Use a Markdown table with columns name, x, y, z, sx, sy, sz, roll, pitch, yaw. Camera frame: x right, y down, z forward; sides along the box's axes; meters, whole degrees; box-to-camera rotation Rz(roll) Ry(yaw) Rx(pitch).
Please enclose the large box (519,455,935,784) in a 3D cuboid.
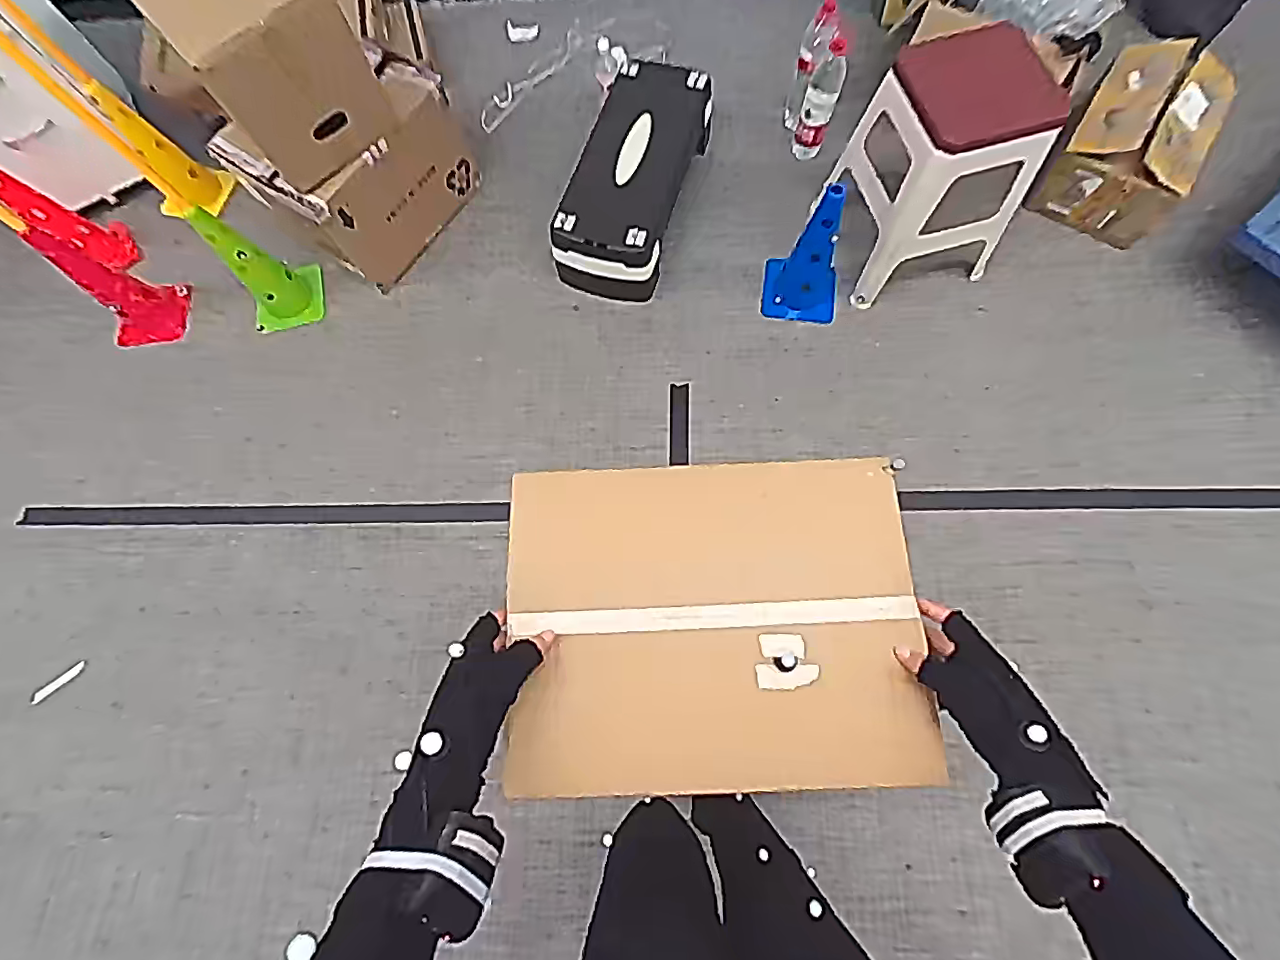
| name | x | y | z | sx | sy | sz | roll | pitch | yaw |
| --- | --- | --- | --- | --- | --- | --- | --- | --- | --- |
| large box | 0.075 | 0.171 | 0.693 | 0.408 | 0.320 | 0.320 | -2 | 74 | 0 |
